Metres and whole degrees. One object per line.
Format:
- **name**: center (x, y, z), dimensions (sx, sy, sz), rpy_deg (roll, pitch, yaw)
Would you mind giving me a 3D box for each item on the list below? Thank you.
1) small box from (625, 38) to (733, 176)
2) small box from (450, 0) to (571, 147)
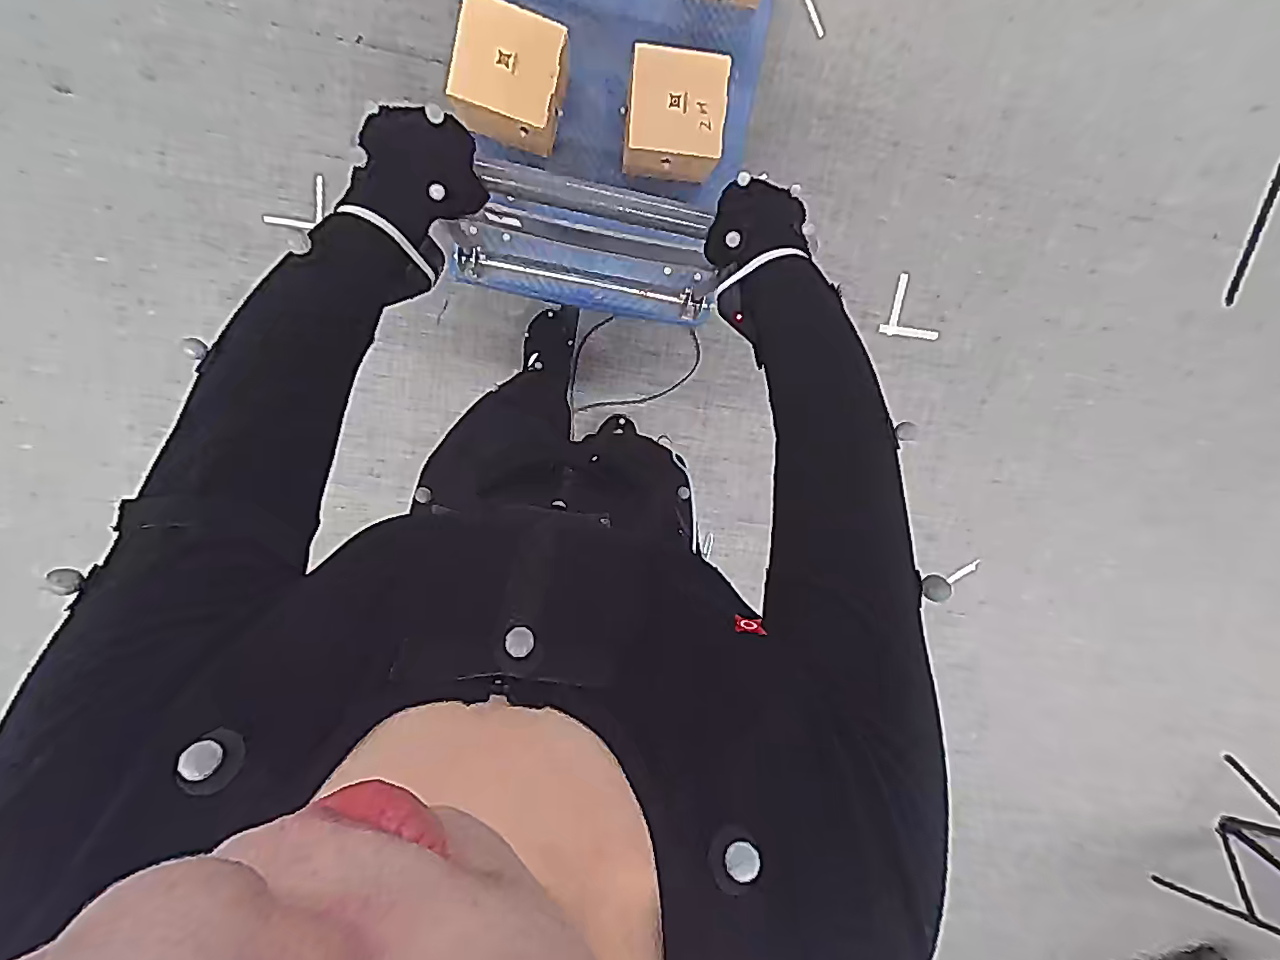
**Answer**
- **small box**: center (0.066, -0.709, 1.048), dimensions (0.179, 0.176, 0.168), rpy_deg (3, 105, -7)
- **small box**: center (-0.232, -0.752, 1.004), dimensions (0.179, 0.176, 0.168), rpy_deg (14, 103, -12)
